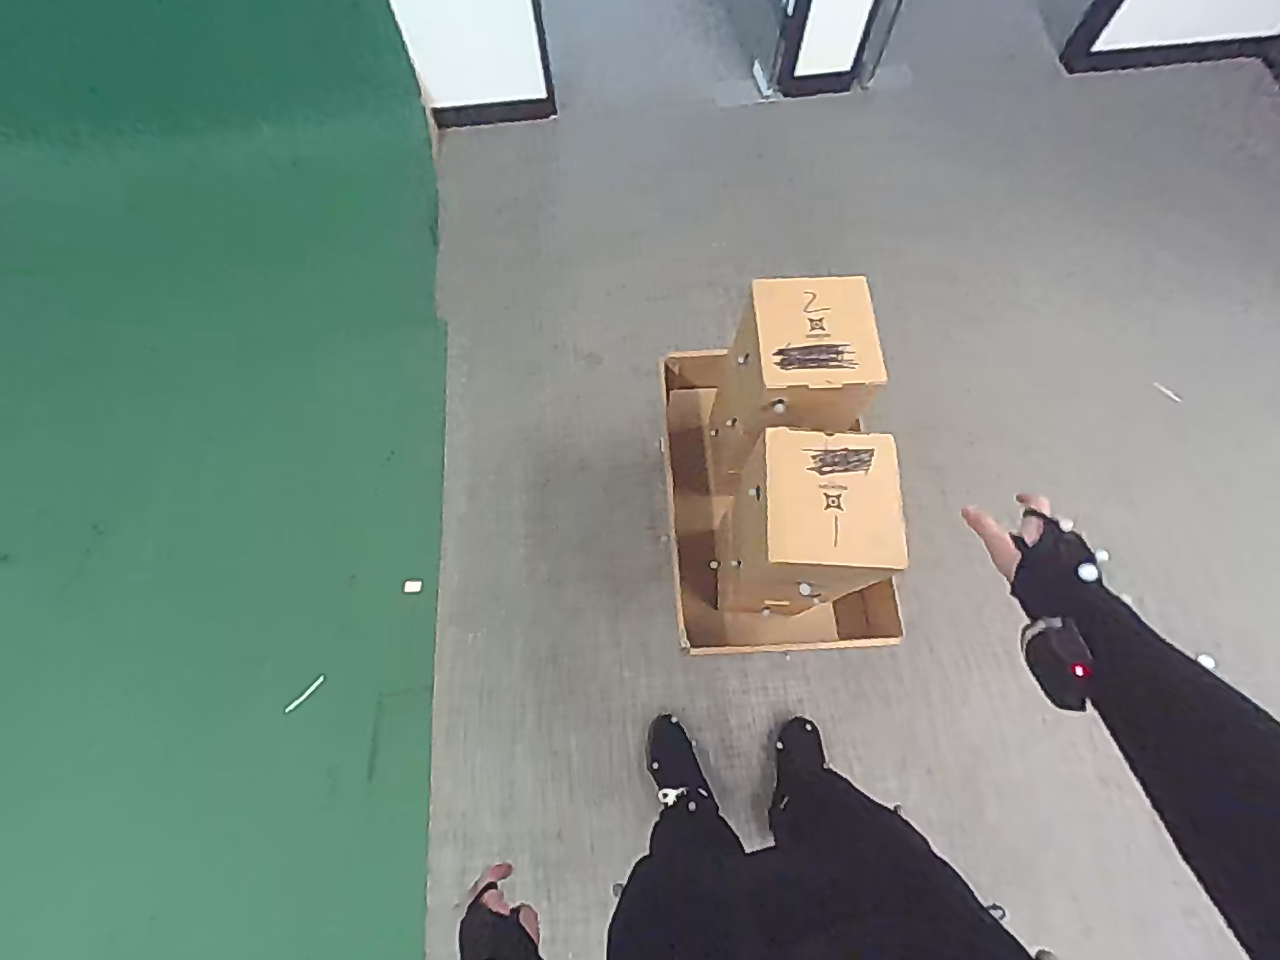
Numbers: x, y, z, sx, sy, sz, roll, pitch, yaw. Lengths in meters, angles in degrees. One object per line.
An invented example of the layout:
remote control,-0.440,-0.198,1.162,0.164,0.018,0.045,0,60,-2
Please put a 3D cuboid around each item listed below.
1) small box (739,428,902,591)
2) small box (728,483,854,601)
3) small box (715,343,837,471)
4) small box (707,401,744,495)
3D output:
small box,0.231,0.047,0.739,0.168,0.176,0.179,3,71,1
small box,0.240,0.101,0.894,0.168,0.176,0.179,3,69,1
small box,0.234,-0.128,0.981,0.168,0.176,0.179,-3,72,-2
small box,0.235,-0.077,1.135,0.168,0.176,0.179,-3,71,0
